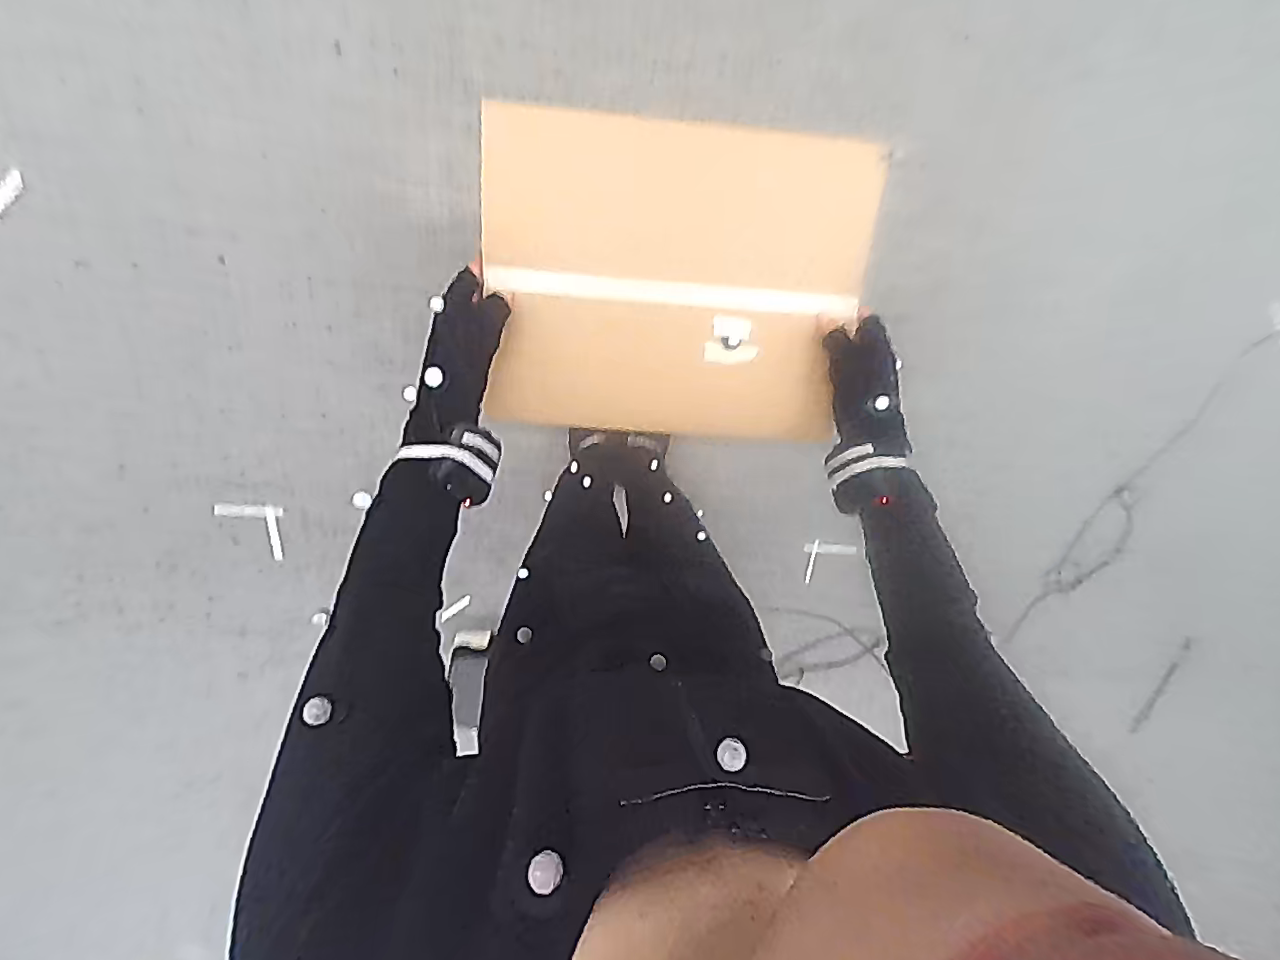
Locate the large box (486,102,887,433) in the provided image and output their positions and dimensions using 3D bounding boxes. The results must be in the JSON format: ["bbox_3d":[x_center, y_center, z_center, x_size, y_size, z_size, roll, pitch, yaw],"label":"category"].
[{"bbox_3d":[0.032,-0.256,0.715,0.408,0.320,0.320,3,111,-4],"label":"large box"}]
